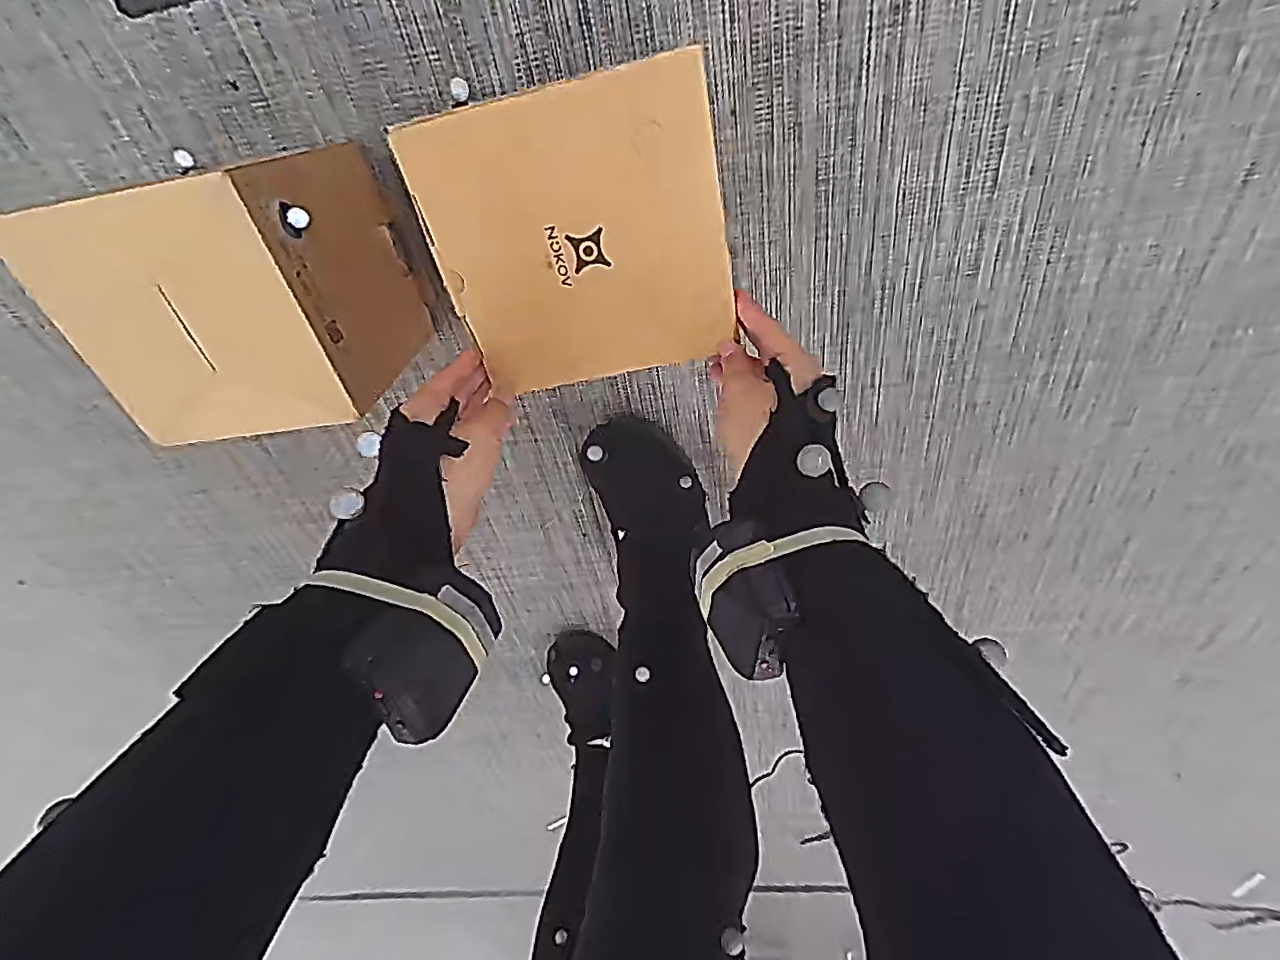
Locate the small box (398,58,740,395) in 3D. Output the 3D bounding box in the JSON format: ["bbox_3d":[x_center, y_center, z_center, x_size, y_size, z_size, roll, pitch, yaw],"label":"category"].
[{"bbox_3d":[-0.032,-0.186,0.394,0.179,0.176,0.168,-9,126,10],"label":"small box"}]

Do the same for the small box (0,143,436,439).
[{"bbox_3d":[-0.297,-0.148,0.426,0.179,0.176,0.168,-6,126,6],"label":"small box"}]
